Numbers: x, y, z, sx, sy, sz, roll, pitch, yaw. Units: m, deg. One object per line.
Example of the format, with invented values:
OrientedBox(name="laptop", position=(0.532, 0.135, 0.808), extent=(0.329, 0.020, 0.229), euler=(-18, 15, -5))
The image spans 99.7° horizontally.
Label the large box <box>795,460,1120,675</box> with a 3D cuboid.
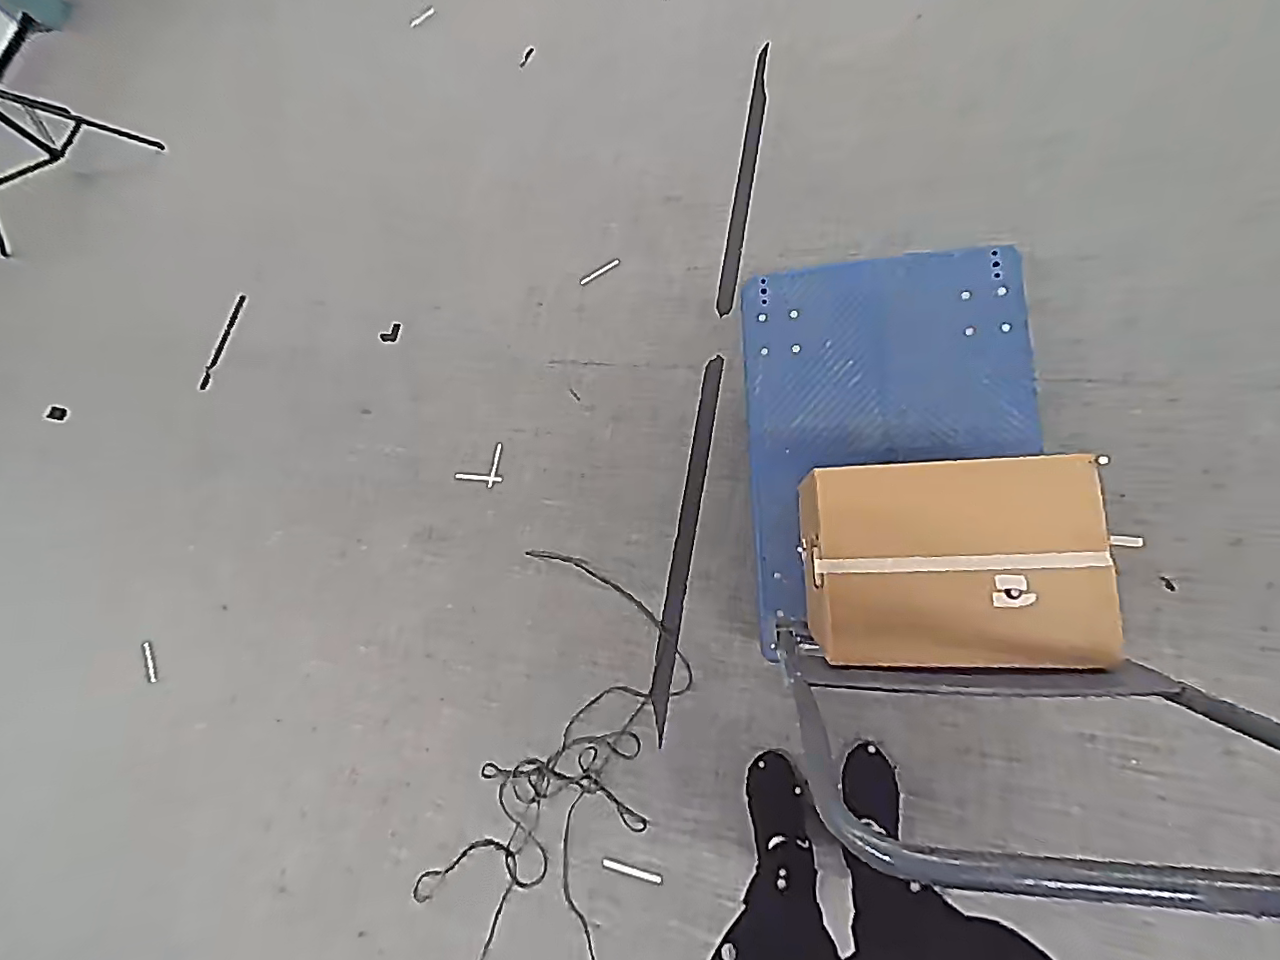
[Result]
OrientedBox(name="large box", position=(0.507, 0.152, 0.963), extent=(0.408, 0.320, 0.320), euler=(-3, 84, 10))
